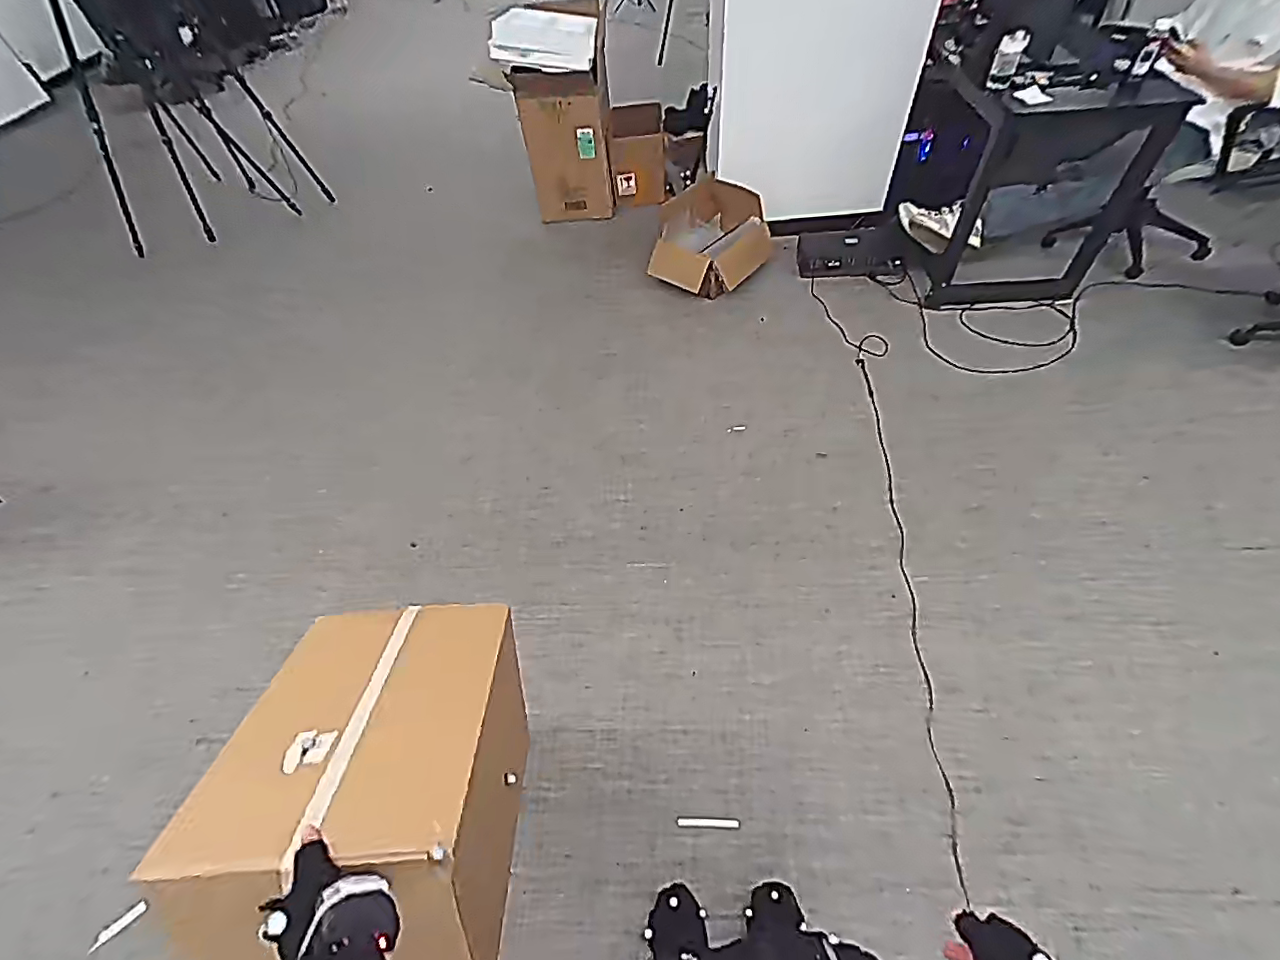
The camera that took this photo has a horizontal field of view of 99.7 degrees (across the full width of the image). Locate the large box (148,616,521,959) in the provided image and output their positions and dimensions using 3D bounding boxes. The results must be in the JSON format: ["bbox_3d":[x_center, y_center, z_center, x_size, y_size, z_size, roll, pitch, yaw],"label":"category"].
[{"bbox_3d":[-0.359,0.455,0.790,0.320,0.320,0.408,-4,25,-3],"label":"large box"}]
